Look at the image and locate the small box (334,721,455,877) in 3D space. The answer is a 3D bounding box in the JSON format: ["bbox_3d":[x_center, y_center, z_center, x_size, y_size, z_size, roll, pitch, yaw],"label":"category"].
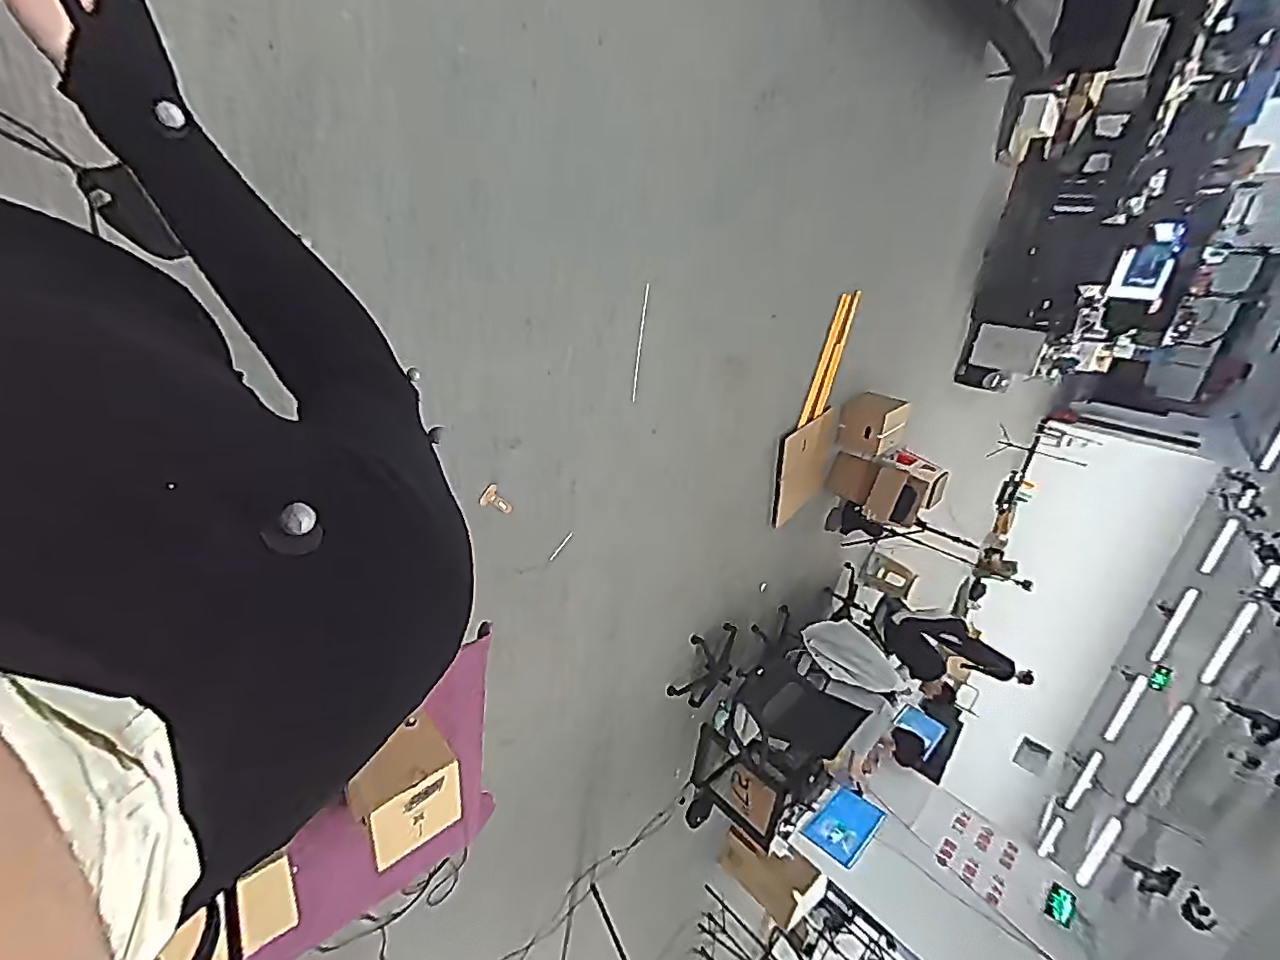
[{"bbox_3d":[-0.481,0.608,1.063,0.168,0.176,0.179,-16,123,-41],"label":"small box"}]

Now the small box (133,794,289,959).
[{"bbox_3d":[-0.690,0.662,0.874,0.168,0.176,0.179,-13,119,-44],"label":"small box"}]
